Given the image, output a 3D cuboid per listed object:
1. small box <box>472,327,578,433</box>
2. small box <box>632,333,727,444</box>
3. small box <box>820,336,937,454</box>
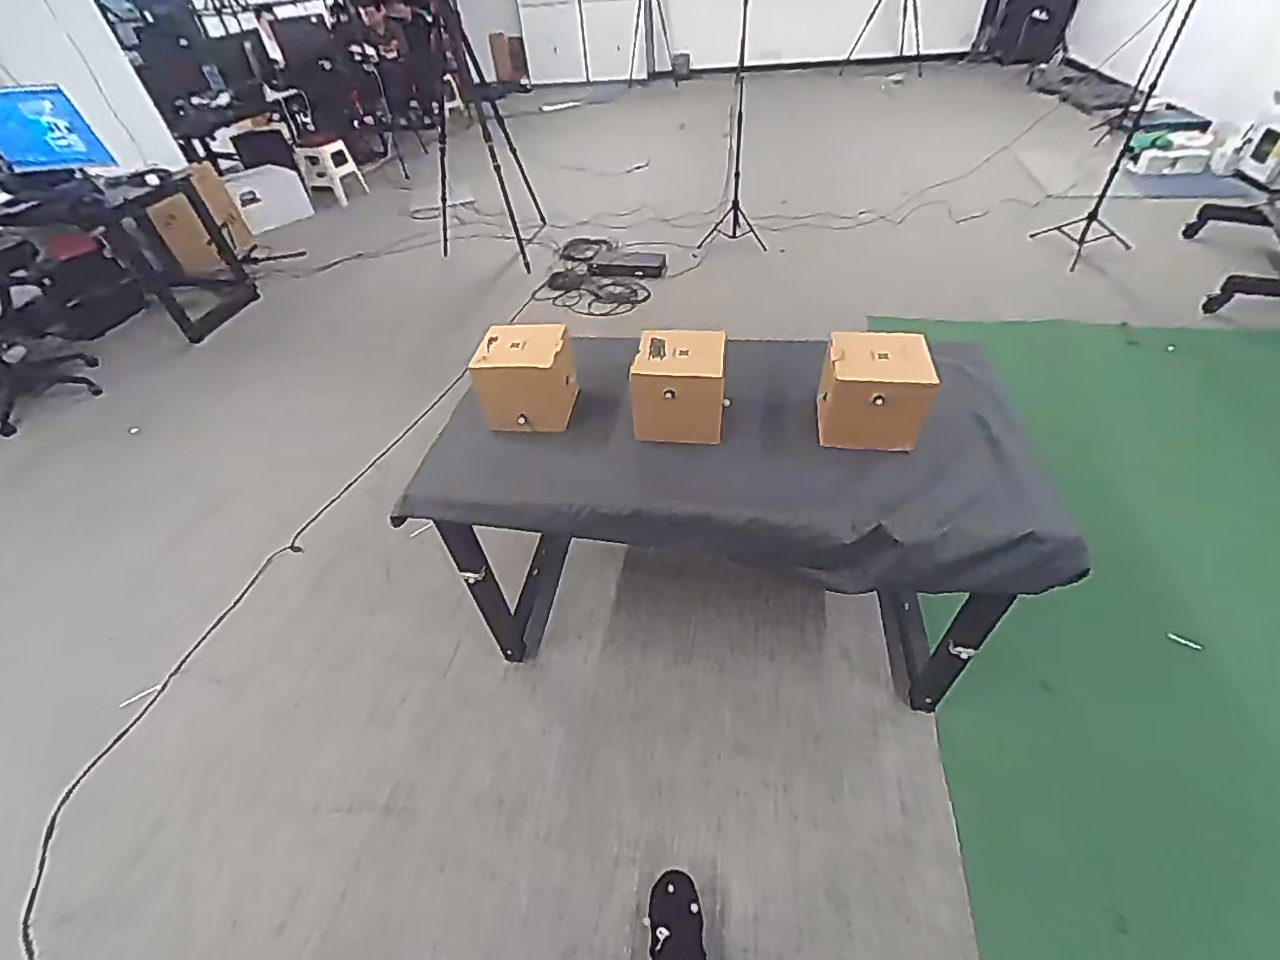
[{"bbox_3d":[-0.240,-0.218,1.188,0.179,0.176,0.168,2,45,7],"label":"small box"},{"bbox_3d":[0.087,-0.189,1.126,0.179,0.176,0.168,4,45,9],"label":"small box"},{"bbox_3d":[0.457,-0.167,1.071,0.179,0.176,0.168,5,47,10],"label":"small box"}]
